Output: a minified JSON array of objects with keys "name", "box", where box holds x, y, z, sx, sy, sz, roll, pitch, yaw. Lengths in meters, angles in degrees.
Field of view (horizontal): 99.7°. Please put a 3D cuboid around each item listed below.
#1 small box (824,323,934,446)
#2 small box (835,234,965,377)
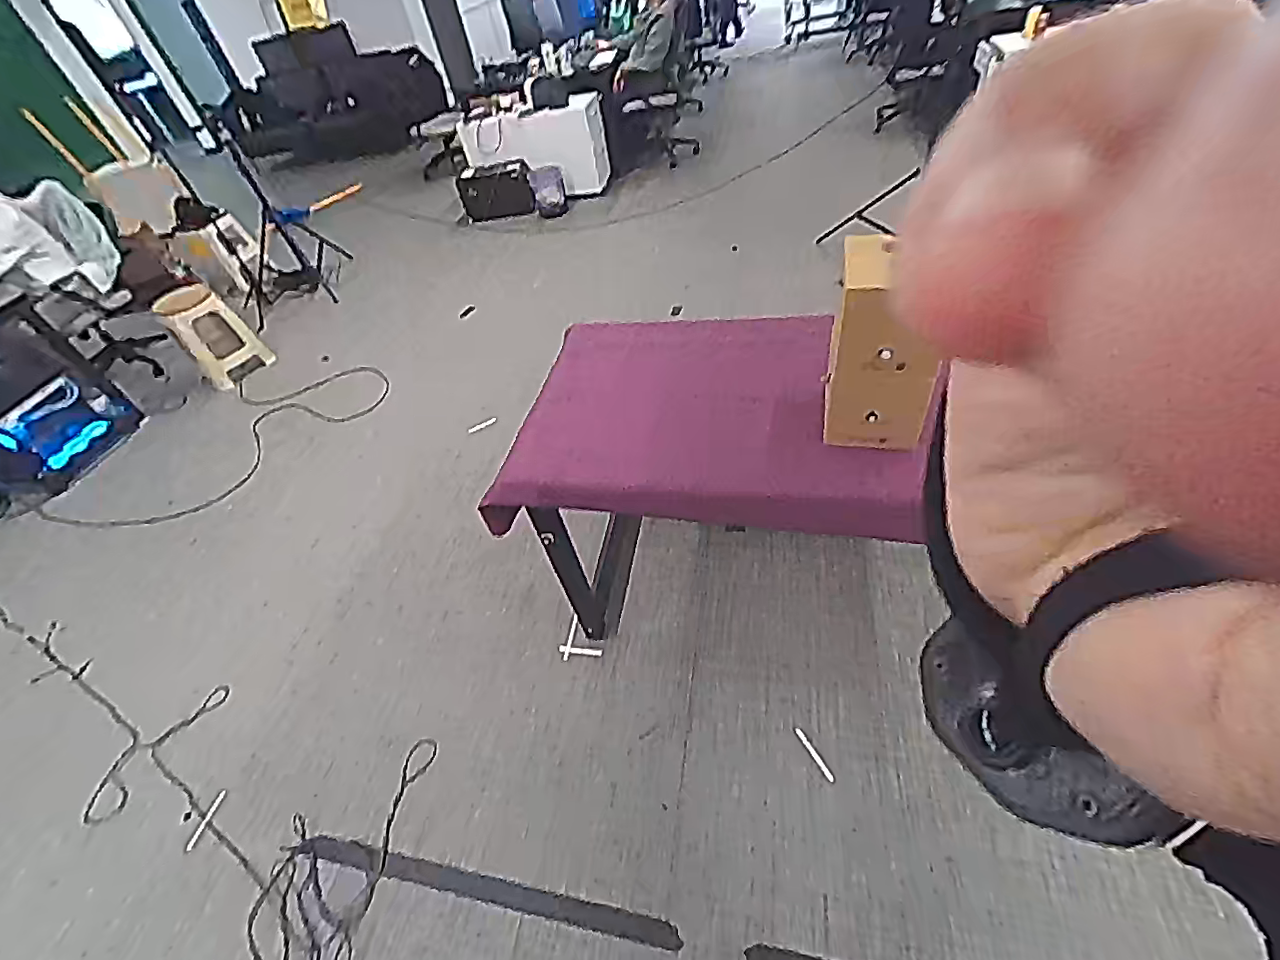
[{"name":"small box","box":[0.448,-0.182,1.036,0.168,0.176,0.179,5,48,15]},{"name":"small box","box":[0.427,-0.296,0.919,0.168,0.176,0.179,4,49,16]}]
